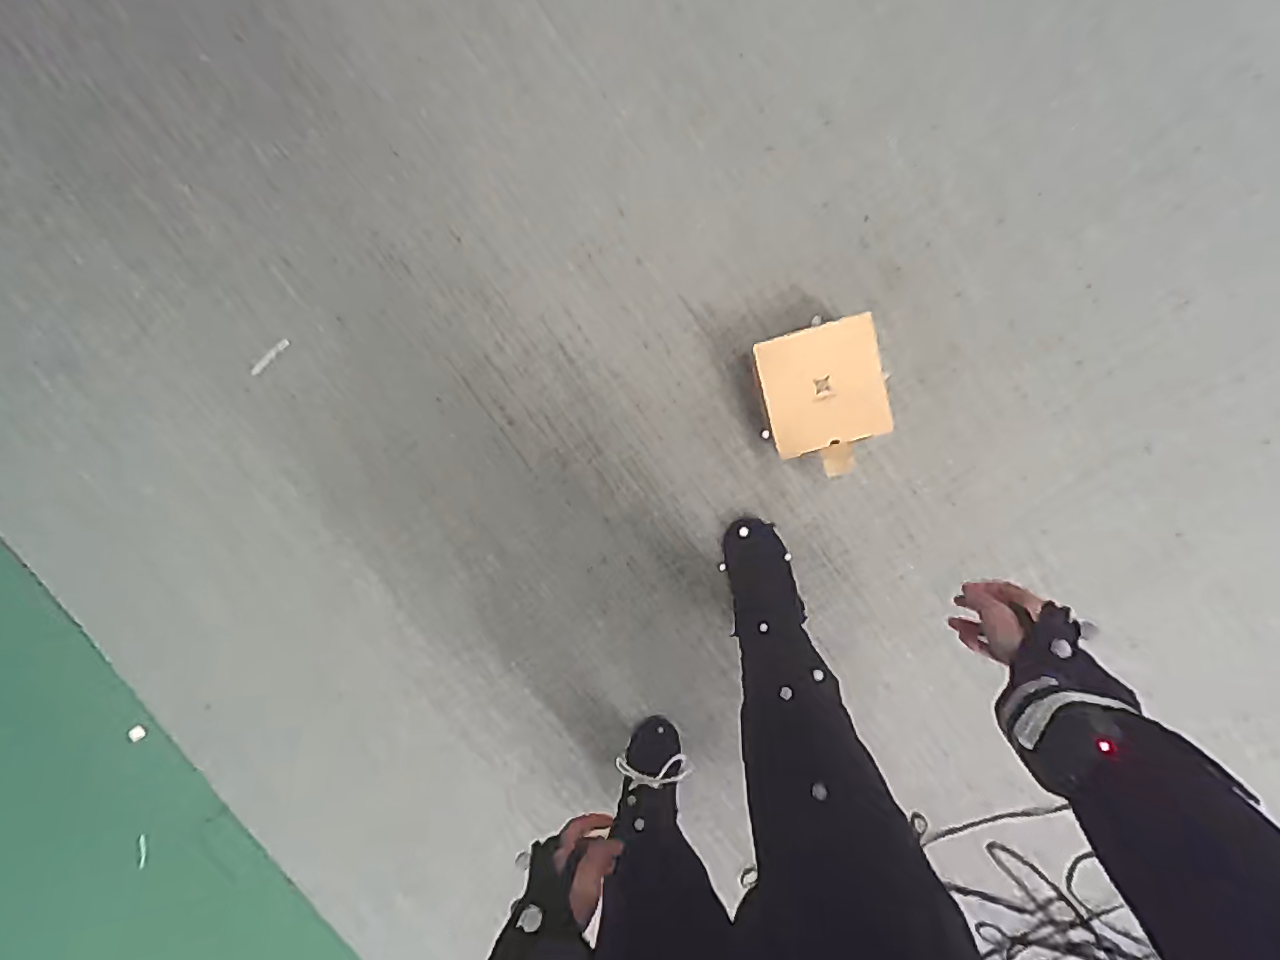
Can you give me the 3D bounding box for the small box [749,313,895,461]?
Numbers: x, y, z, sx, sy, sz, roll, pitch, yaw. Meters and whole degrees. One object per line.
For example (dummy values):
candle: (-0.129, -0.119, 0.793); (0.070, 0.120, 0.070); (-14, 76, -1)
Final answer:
small box: (0.270, -0.143, 0.838); (0.168, 0.176, 0.179); (-14, 100, 11)
